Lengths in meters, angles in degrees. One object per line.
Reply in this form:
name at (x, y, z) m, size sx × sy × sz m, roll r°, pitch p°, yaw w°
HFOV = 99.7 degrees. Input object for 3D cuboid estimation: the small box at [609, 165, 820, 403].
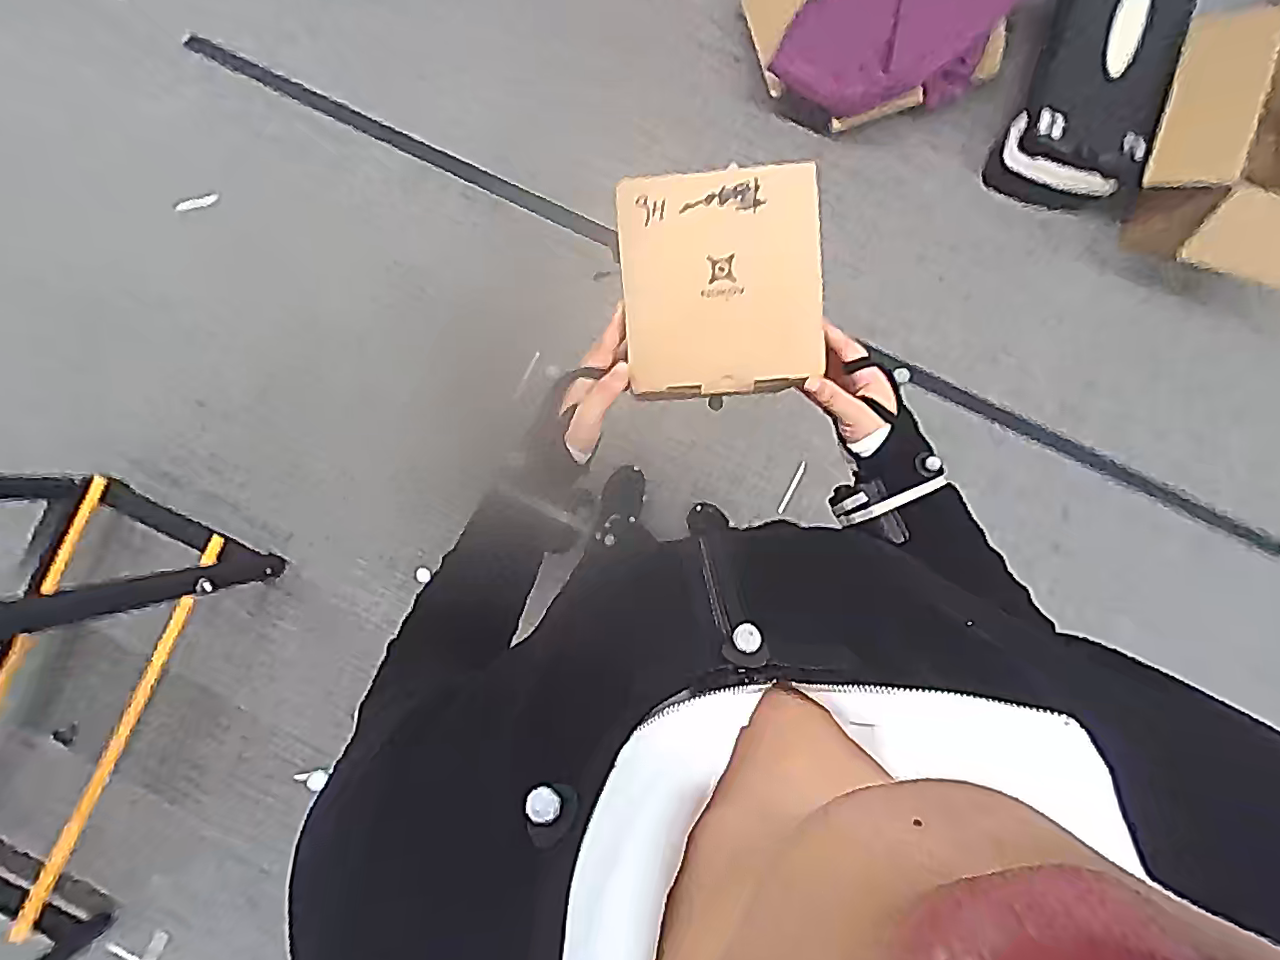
small box at (0.067, -0.169, 0.524) m, size 0.168 × 0.176 × 0.179 m, roll -6°, pitch 96°, yaw 3°
